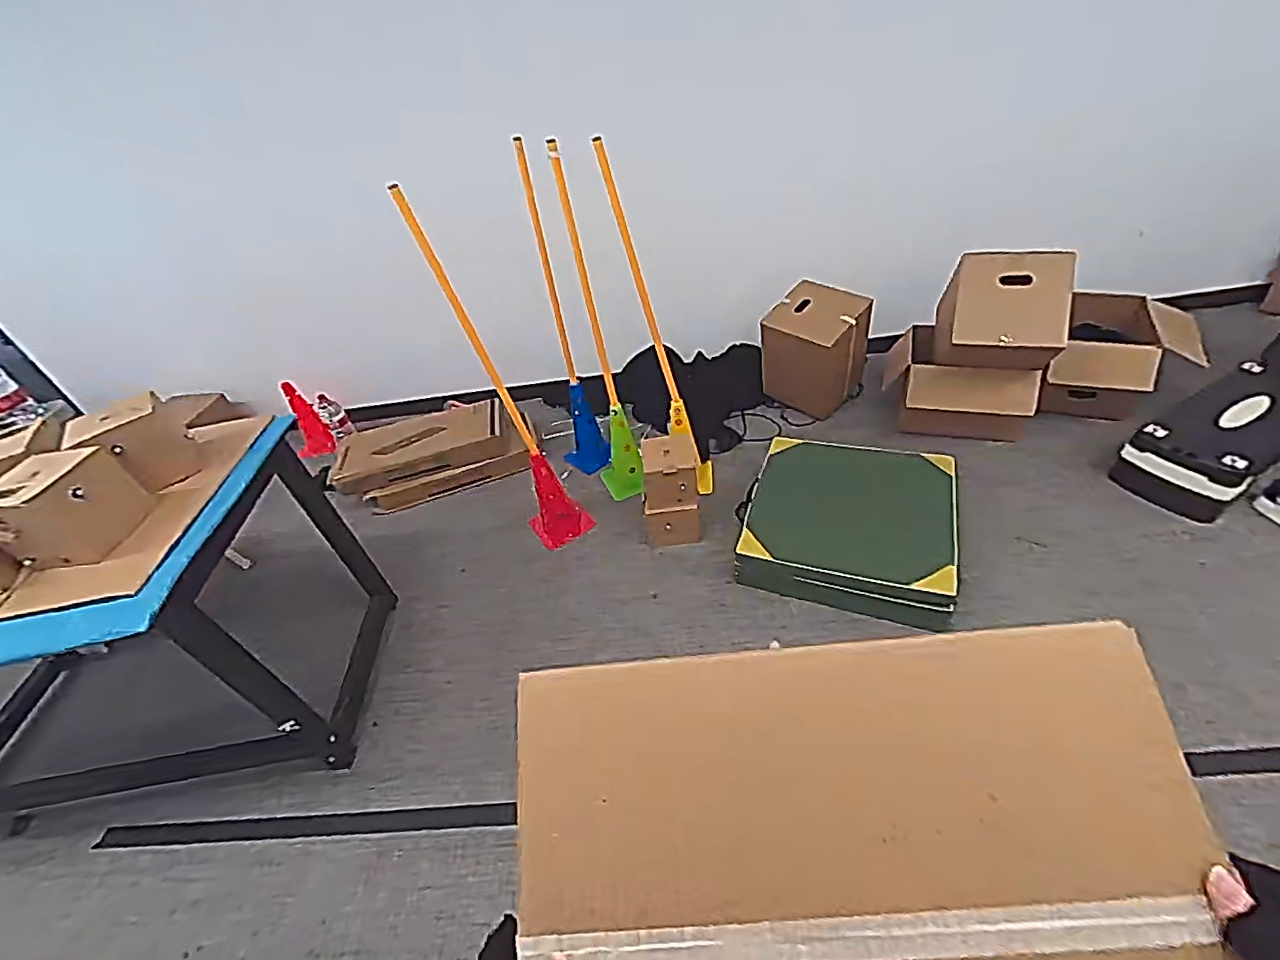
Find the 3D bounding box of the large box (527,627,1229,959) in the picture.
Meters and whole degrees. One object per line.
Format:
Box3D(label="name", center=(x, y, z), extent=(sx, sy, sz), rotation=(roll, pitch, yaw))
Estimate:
Box3D(label="large box", center=(0.147, 0.318, 0.461), extent=(0.408, 0.320, 0.320), rotation=(-7, 68, 3))
